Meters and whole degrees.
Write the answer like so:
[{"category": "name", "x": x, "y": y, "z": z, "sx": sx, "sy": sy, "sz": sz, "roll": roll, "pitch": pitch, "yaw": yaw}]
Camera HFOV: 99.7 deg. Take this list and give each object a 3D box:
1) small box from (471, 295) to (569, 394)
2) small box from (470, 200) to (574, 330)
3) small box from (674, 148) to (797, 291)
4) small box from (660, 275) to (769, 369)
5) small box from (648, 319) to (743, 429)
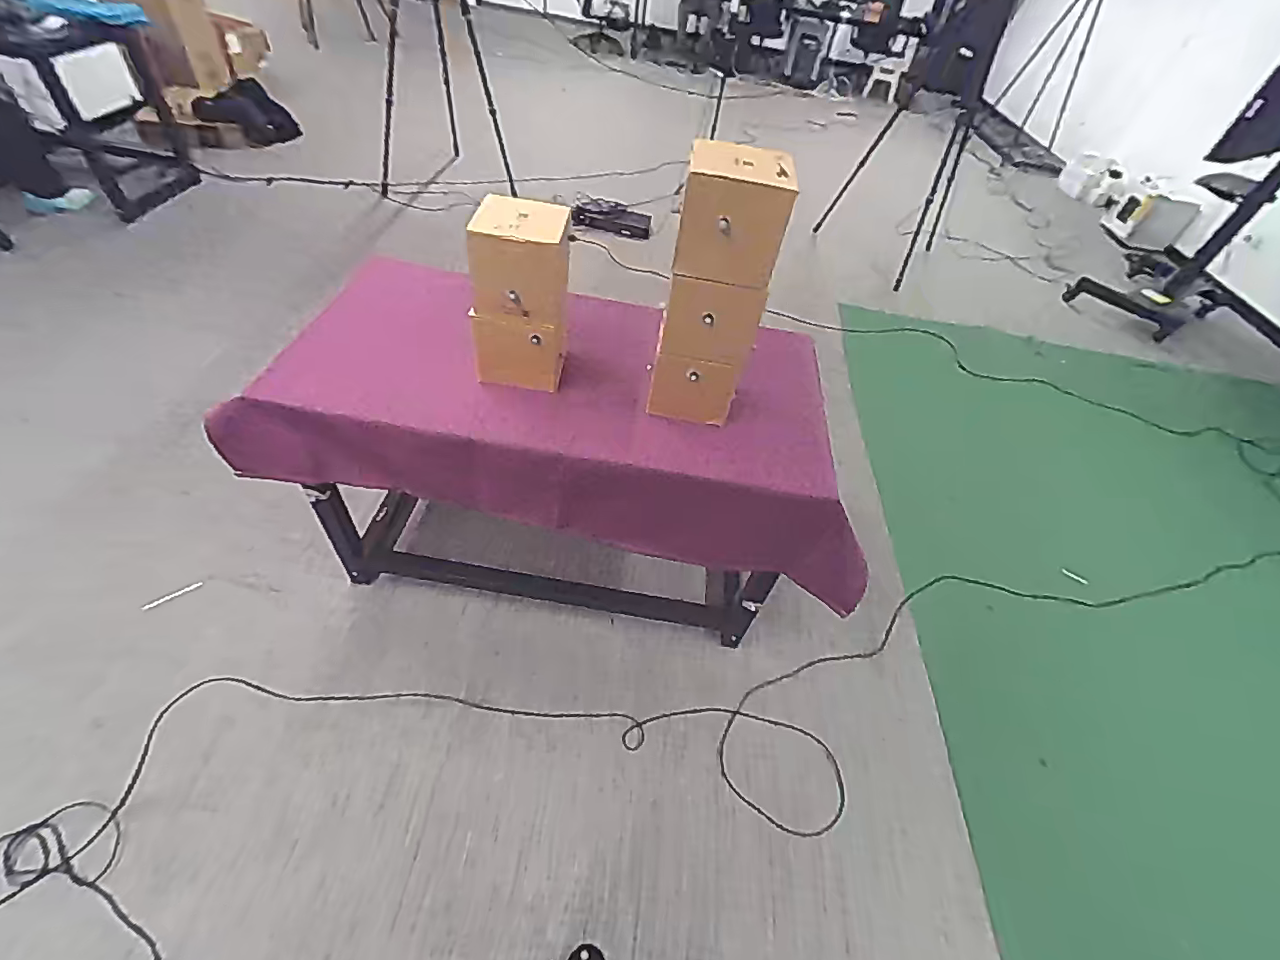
[{"category": "small box", "x": -0.257, "y": -0.308, "z": 1.188, "sx": 0.179, "sy": 0.176, "sz": 0.168, "roll": 8, "pitch": 47, "yaw": -4}, {"category": "small box", "x": -0.230, "y": -0.425, "z": 1.075, "sx": 0.168, "sy": 0.176, "sz": 0.179, "roll": 8, "pitch": 47, "yaw": -3}, {"category": "small box", "x": 0.158, "y": -0.449, "z": 0.940, "sx": 0.179, "sy": 0.176, "sz": 0.168, "roll": 9, "pitch": 48, "yaw": 0}, {"category": "small box", "x": 0.144, "y": -0.339, "z": 1.061, "sx": 0.179, "sy": 0.176, "sz": 0.168, "roll": 10, "pitch": 48, "yaw": 1}, {"category": "small box", "x": 0.119, "y": -0.232, "z": 1.183, "sx": 0.179, "sy": 0.176, "sz": 0.168, "roll": 11, "pitch": 48, "yaw": -1}]
